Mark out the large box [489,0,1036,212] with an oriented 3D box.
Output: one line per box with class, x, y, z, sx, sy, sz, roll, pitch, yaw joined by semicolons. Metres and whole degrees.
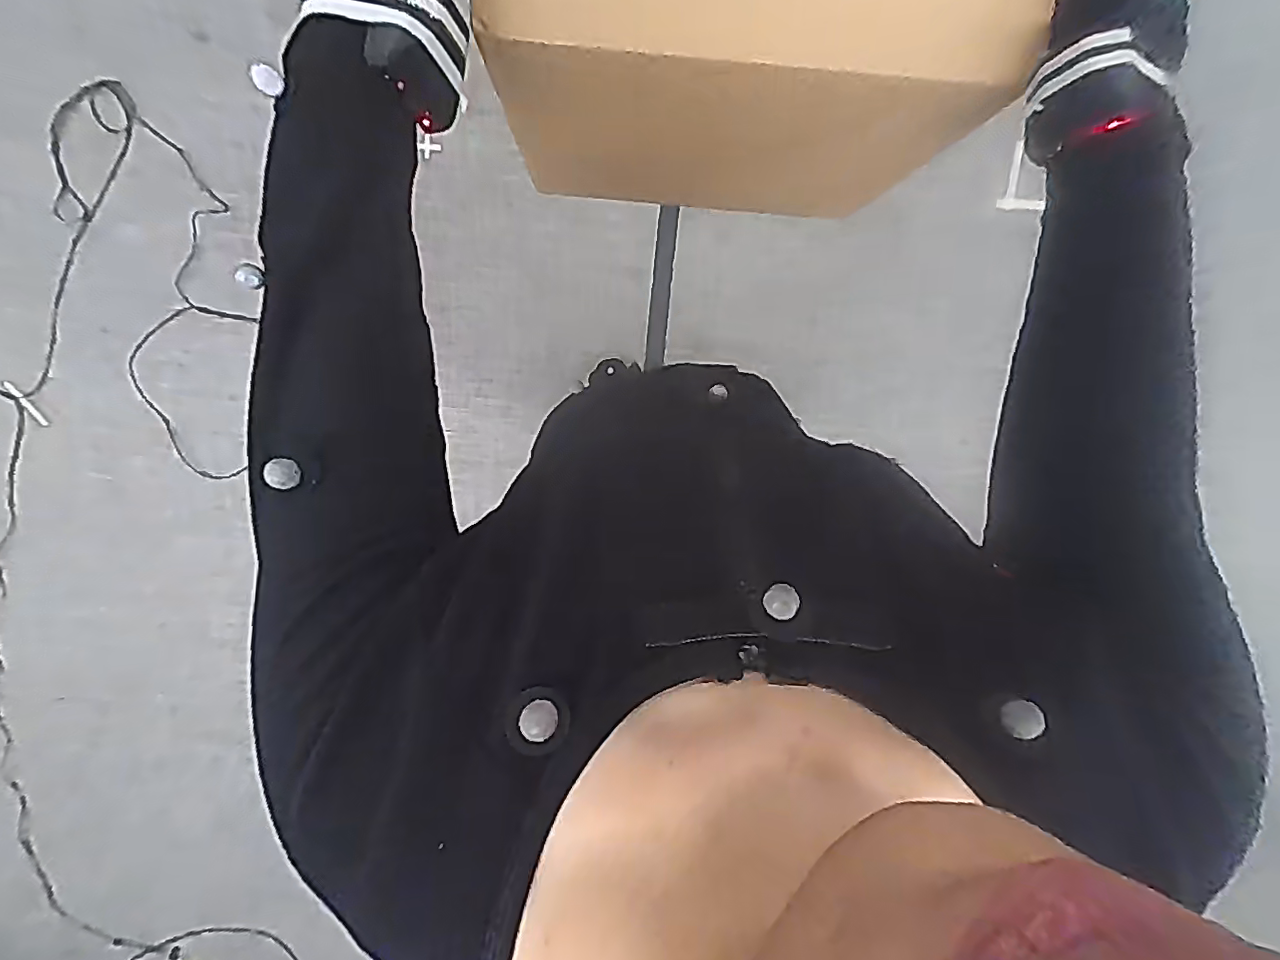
large box;0.085;-0.475;0.515;0.408;0.320;0.320;2;99;-4
